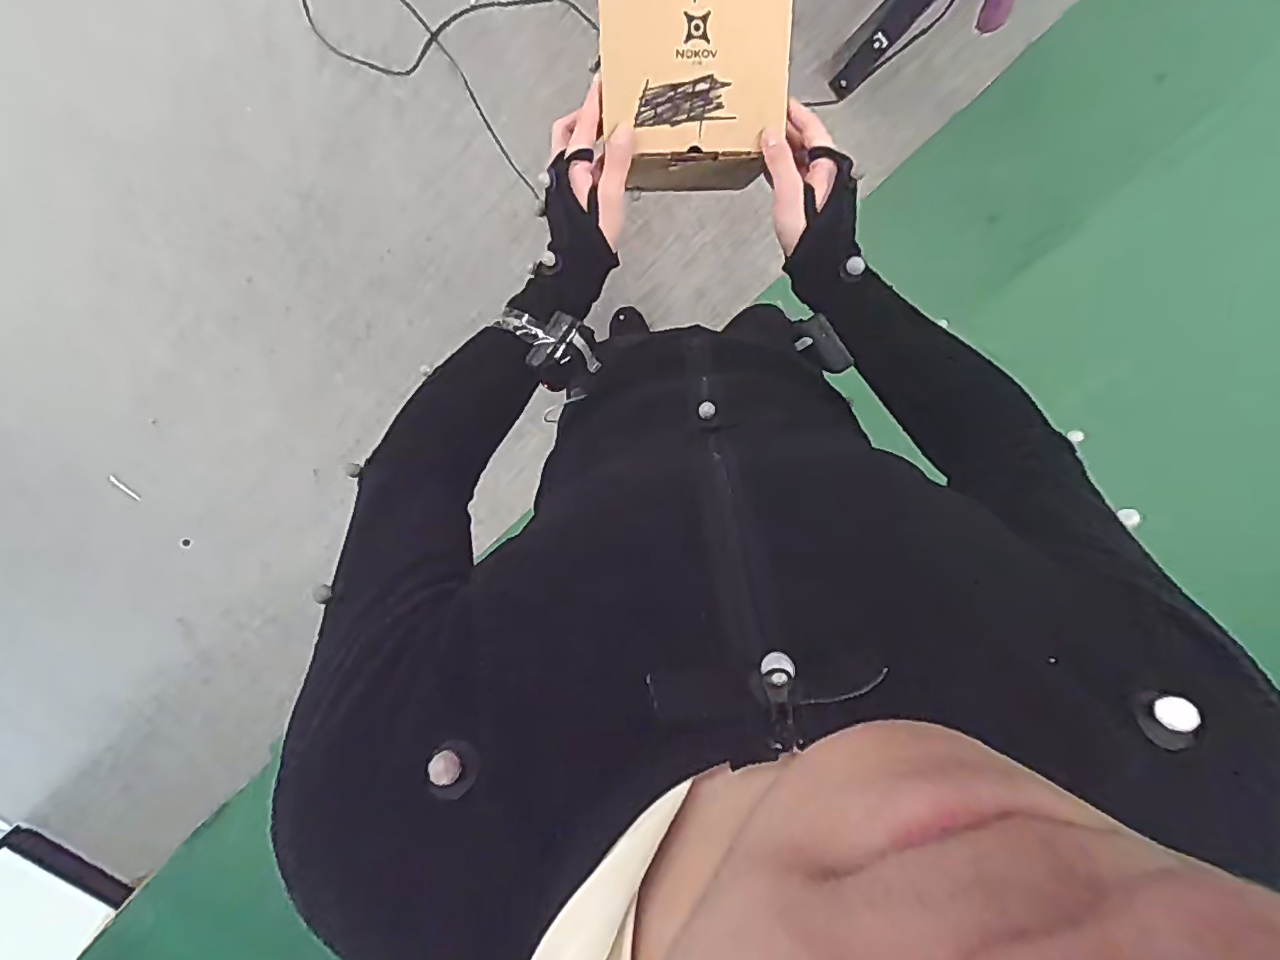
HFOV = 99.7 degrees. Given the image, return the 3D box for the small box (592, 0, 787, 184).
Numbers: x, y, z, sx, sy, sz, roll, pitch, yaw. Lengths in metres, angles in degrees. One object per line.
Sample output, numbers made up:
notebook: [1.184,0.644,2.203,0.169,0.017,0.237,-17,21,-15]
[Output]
small box: [0.040,-0.402,0.533,0.168,0.176,0.179,-2,108,-2]
